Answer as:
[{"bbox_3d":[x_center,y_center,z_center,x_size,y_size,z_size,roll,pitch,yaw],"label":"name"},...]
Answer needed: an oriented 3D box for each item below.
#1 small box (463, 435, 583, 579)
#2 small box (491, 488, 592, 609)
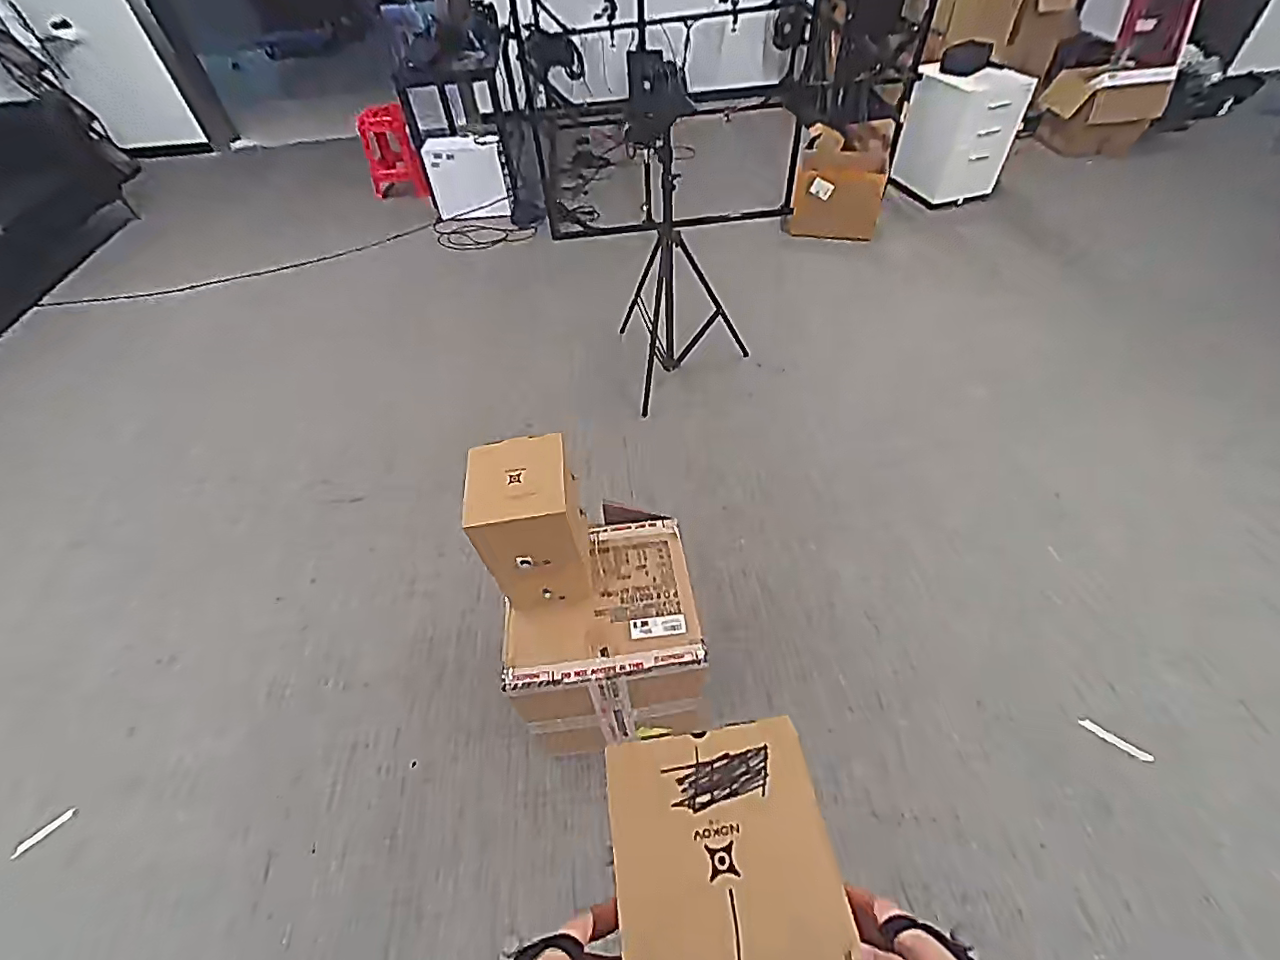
[{"bbox_3d":[-0.197,0.049,0.950,0.168,0.176,0.179,-10,52,-1],"label":"small box"},{"bbox_3d":[-0.193,0.136,1.089,0.168,0.176,0.179,-9,51,-1],"label":"small box"}]
